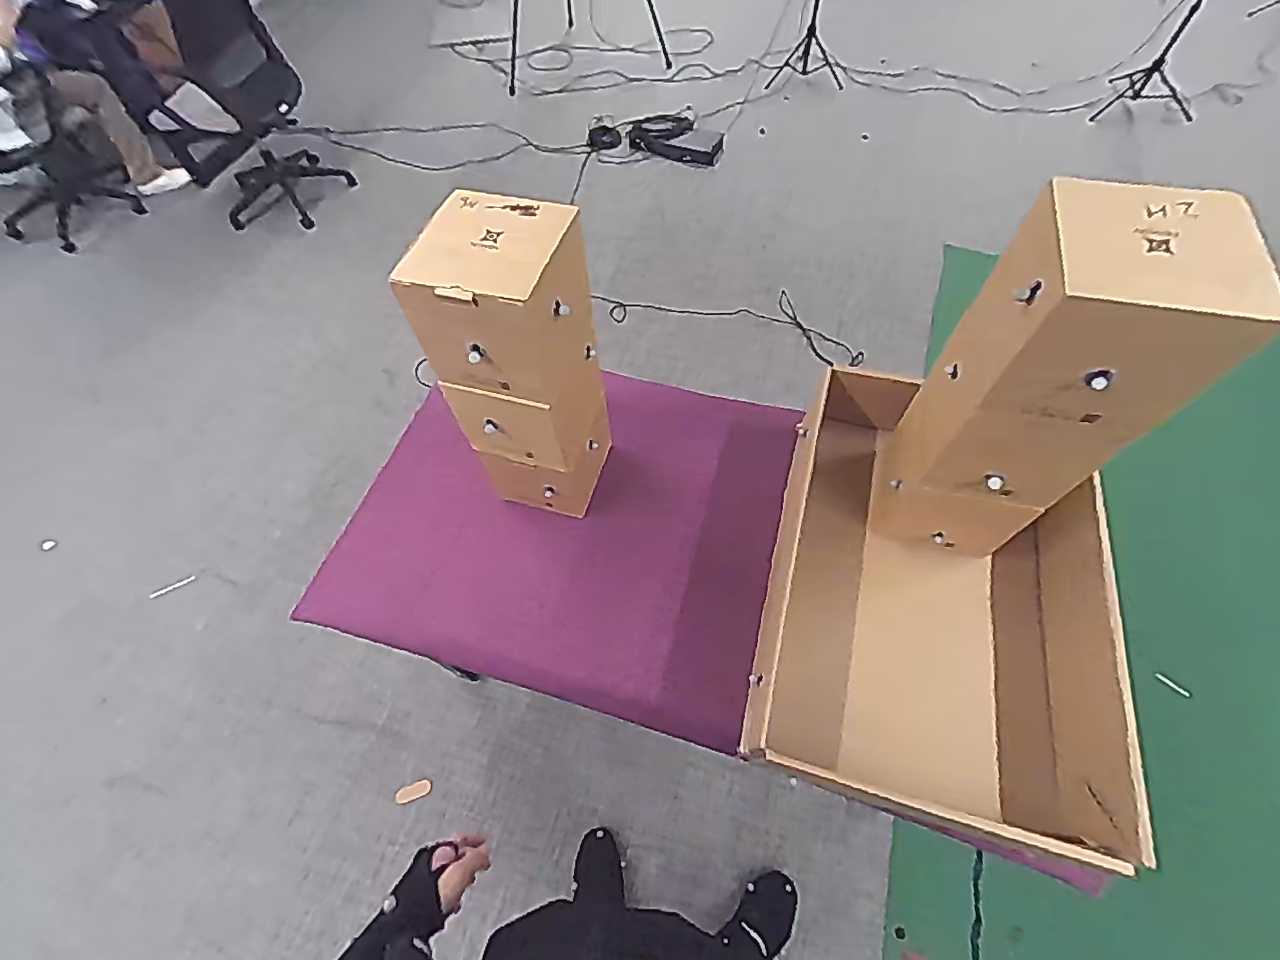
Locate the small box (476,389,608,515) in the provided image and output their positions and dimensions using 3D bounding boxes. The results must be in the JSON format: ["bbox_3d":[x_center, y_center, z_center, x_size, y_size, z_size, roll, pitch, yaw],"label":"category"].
[{"bbox_3d":[-0.160,-0.059,0.965,0.168,0.176,0.179,14,61,10],"label":"small box"}]

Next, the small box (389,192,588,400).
[{"bbox_3d":[-0.172,-0.226,0.685,0.168,0.176,0.179,13,61,9],"label":"small box"}]

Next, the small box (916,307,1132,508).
[{"bbox_3d":[0.473,-0.089,0.697,0.168,0.176,0.179,12,62,11],"label":"small box"}]

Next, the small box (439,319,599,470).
[{"bbox_3d":[-0.168,-0.138,0.824,0.168,0.176,0.179,14,60,10],"label":"small box"}]

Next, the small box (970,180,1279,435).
[{"bbox_3d":[0.462,-0.169,0.552,0.168,0.176,0.179,13,62,11],"label":"small box"}]
